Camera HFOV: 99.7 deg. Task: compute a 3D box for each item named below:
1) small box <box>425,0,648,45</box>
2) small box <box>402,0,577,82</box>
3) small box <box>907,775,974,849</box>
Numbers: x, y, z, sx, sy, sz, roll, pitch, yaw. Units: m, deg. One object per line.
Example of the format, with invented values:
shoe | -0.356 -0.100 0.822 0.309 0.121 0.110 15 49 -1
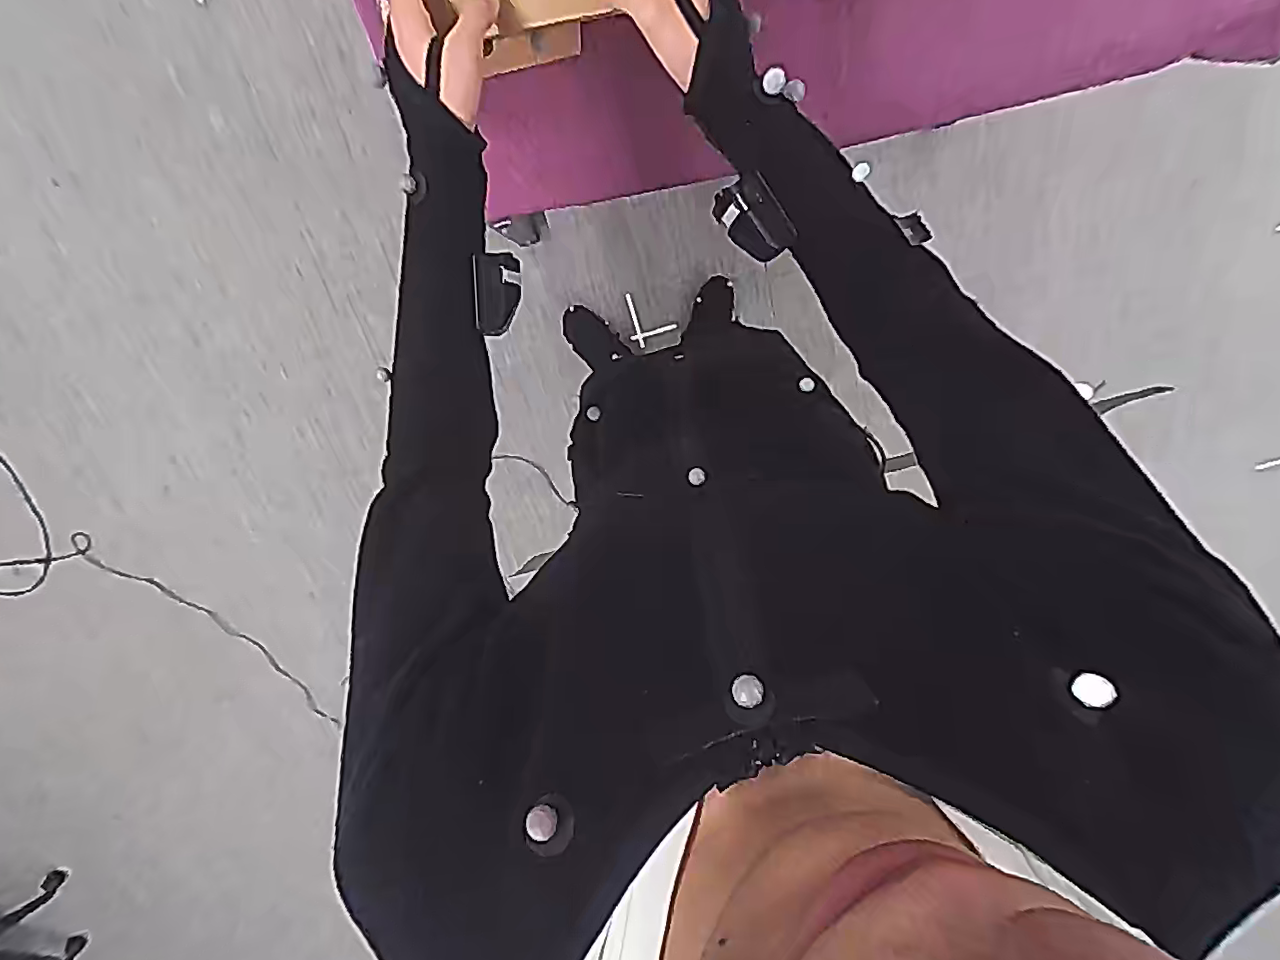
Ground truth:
small box | -0.098 -0.458 0.415 0.168 0.176 0.179 -12 130 -1
small box | -0.171 -0.573 0.593 0.179 0.176 0.168 -14 109 -2
small box | 1.233 1.360 2.223 0.168 0.176 0.179 -22 110 1
